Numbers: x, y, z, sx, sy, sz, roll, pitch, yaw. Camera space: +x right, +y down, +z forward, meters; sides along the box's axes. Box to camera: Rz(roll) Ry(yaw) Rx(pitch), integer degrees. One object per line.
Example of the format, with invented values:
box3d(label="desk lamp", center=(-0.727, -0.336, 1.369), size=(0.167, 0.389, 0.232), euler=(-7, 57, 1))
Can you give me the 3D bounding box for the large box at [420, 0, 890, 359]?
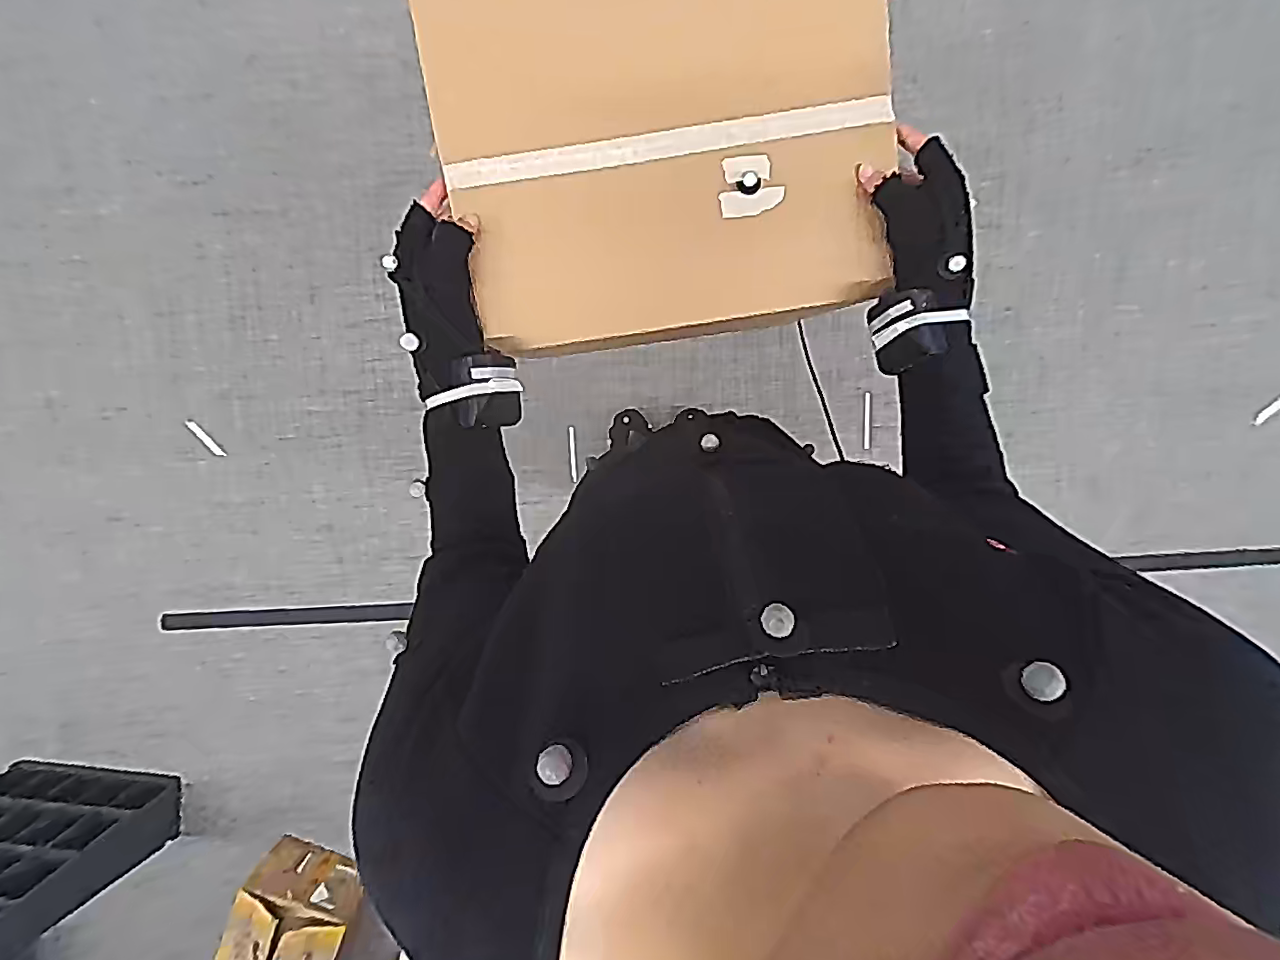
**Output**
box3d(label="large box", center=(0.019, -0.334, 0.643), size=(0.408, 0.320, 0.320), euler=(-8, 101, 0))
